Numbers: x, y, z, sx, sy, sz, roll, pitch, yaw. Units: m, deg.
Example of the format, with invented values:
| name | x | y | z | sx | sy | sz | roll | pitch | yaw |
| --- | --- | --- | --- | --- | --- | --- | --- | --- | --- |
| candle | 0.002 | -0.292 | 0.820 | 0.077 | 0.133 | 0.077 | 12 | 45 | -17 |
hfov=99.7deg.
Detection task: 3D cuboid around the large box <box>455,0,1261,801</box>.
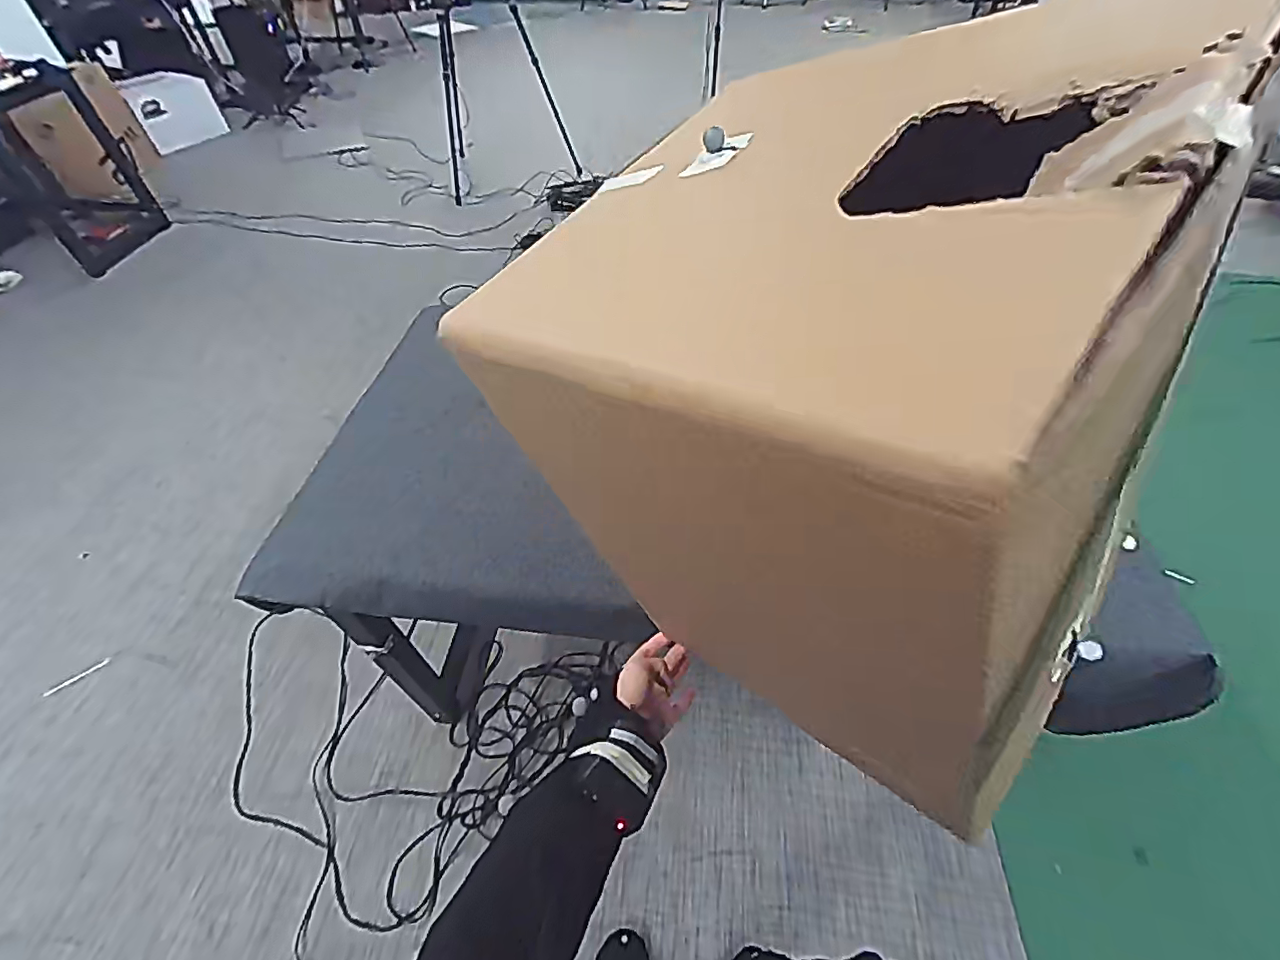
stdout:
| name | x | y | z | sx | sy | sz | roll | pitch | yaw |
| --- | --- | --- | --- | --- | --- | --- | --- | --- | --- |
| large box | 0.148 | -0.031 | 0.417 | 0.320 | 0.408 | 0.320 | 24 | 65 | 41 |
